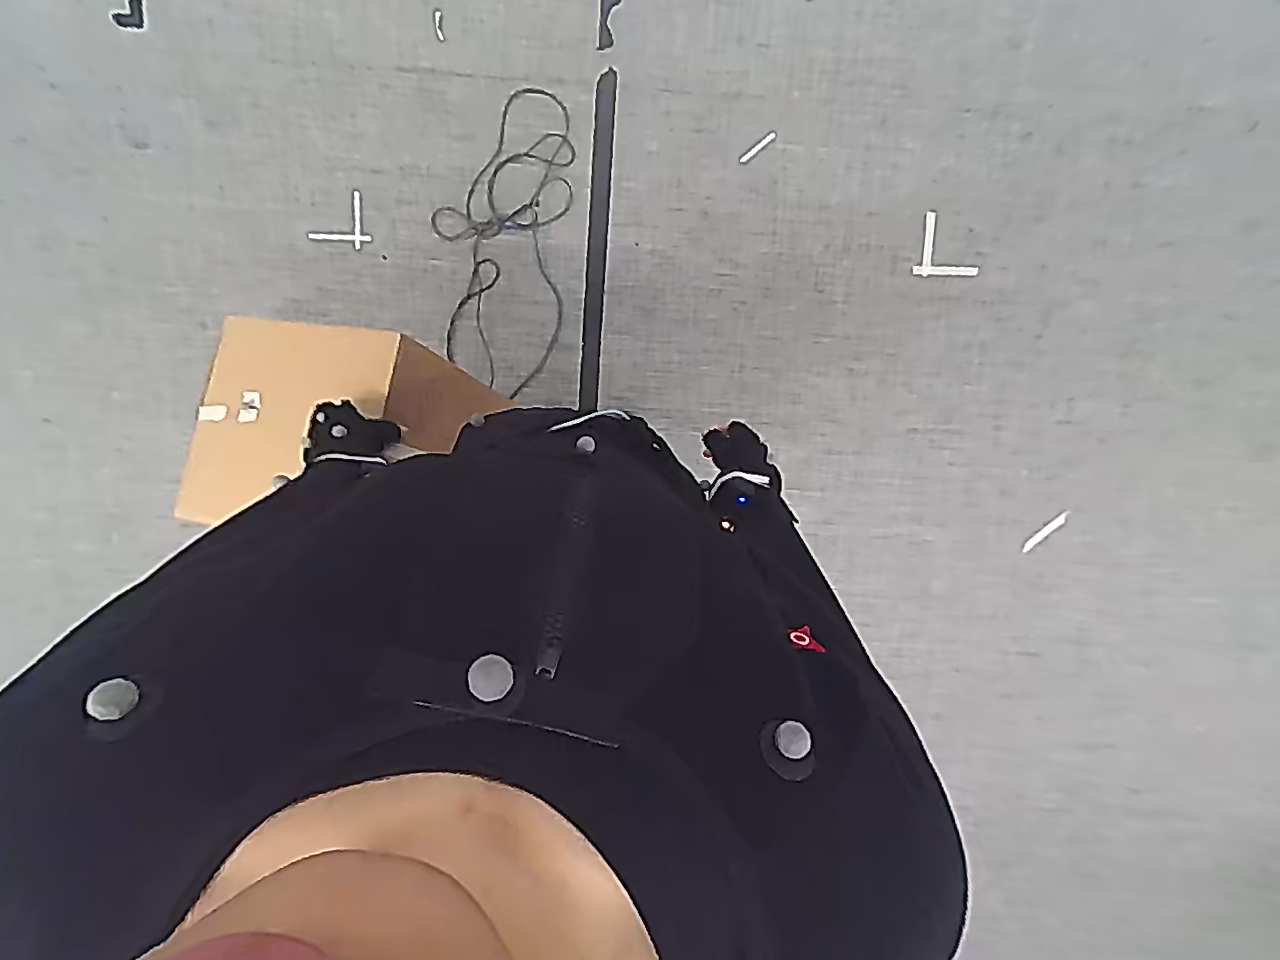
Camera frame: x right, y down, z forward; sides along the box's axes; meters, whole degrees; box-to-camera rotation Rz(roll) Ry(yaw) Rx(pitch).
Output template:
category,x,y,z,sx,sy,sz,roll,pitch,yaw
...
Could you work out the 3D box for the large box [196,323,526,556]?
category,x,y,z,sx,sy,sz,roll,pitch,yaw
large box,-0.452,-0.050,0.964,0.320,0.408,0.320,11,85,13
